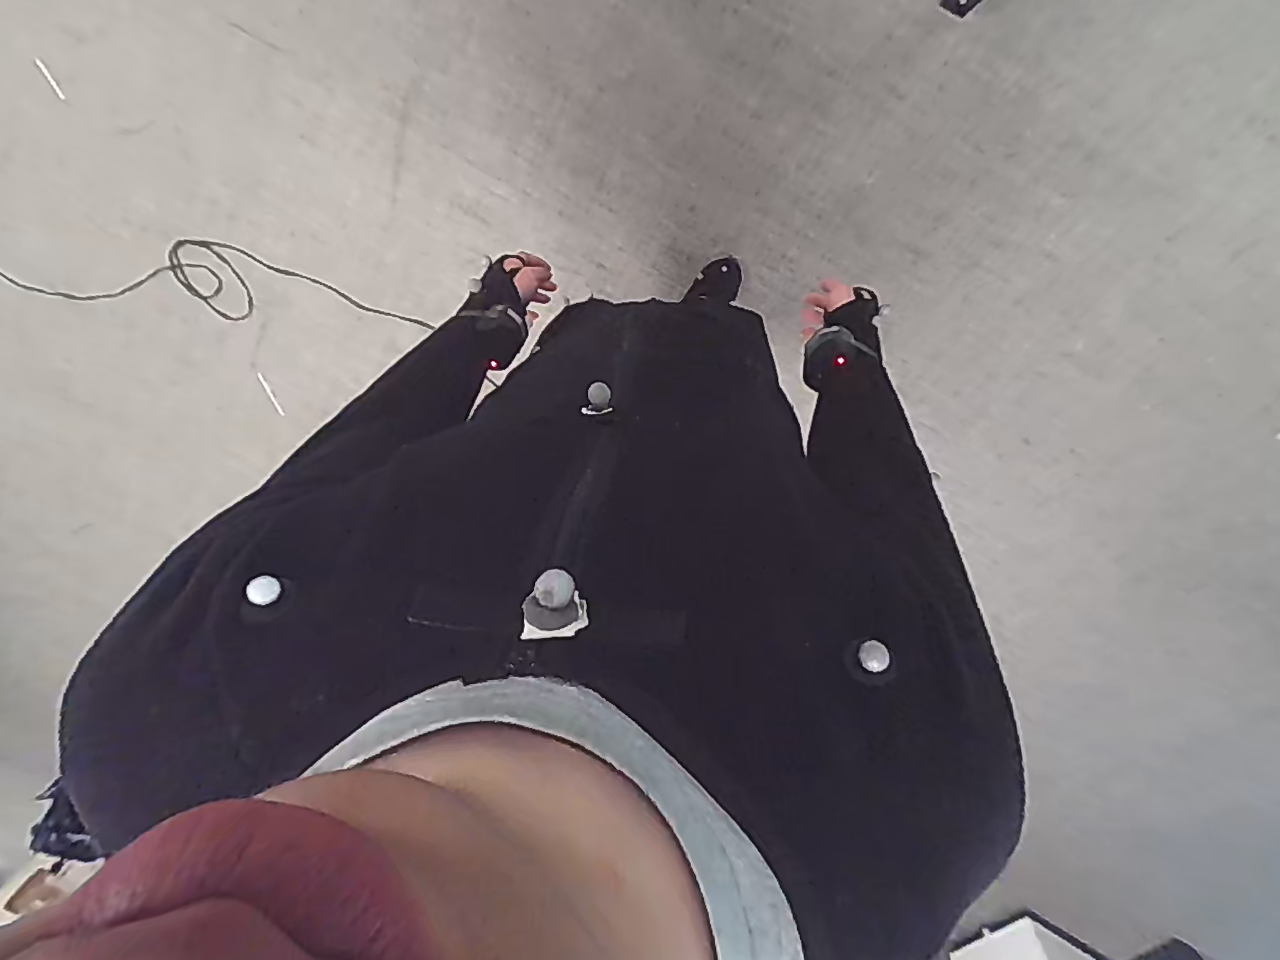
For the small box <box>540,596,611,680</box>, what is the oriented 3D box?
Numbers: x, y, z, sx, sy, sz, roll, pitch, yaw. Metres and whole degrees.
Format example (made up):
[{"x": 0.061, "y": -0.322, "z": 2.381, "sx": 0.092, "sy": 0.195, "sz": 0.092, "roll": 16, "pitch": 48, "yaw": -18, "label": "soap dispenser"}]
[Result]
[{"x": -0.212, "y": 0.529, "z": 1.831, "sx": 0.168, "sy": 0.176, "sz": 0.179, "roll": 31, "pitch": 114, "yaw": -7, "label": "small box"}]
